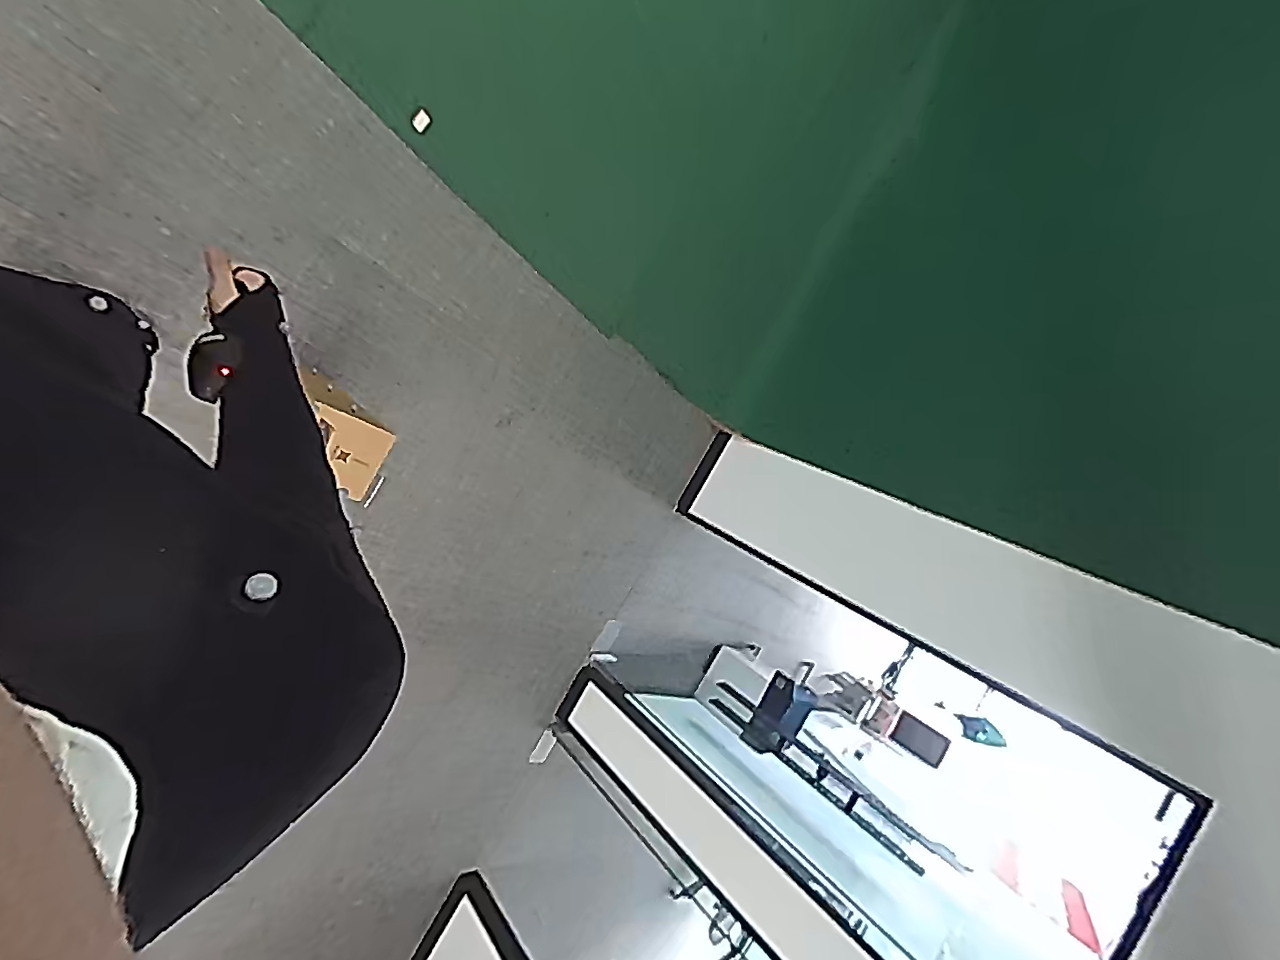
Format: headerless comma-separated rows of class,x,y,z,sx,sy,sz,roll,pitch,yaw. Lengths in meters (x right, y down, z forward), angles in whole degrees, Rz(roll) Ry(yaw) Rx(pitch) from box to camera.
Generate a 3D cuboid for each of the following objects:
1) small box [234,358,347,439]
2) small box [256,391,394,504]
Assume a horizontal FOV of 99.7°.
small box,-0.884,-0.184,1.363,0.168,0.176,0.179,33,86,-49
small box,-0.668,-0.074,1.142,0.179,0.176,0.168,31,87,-51
